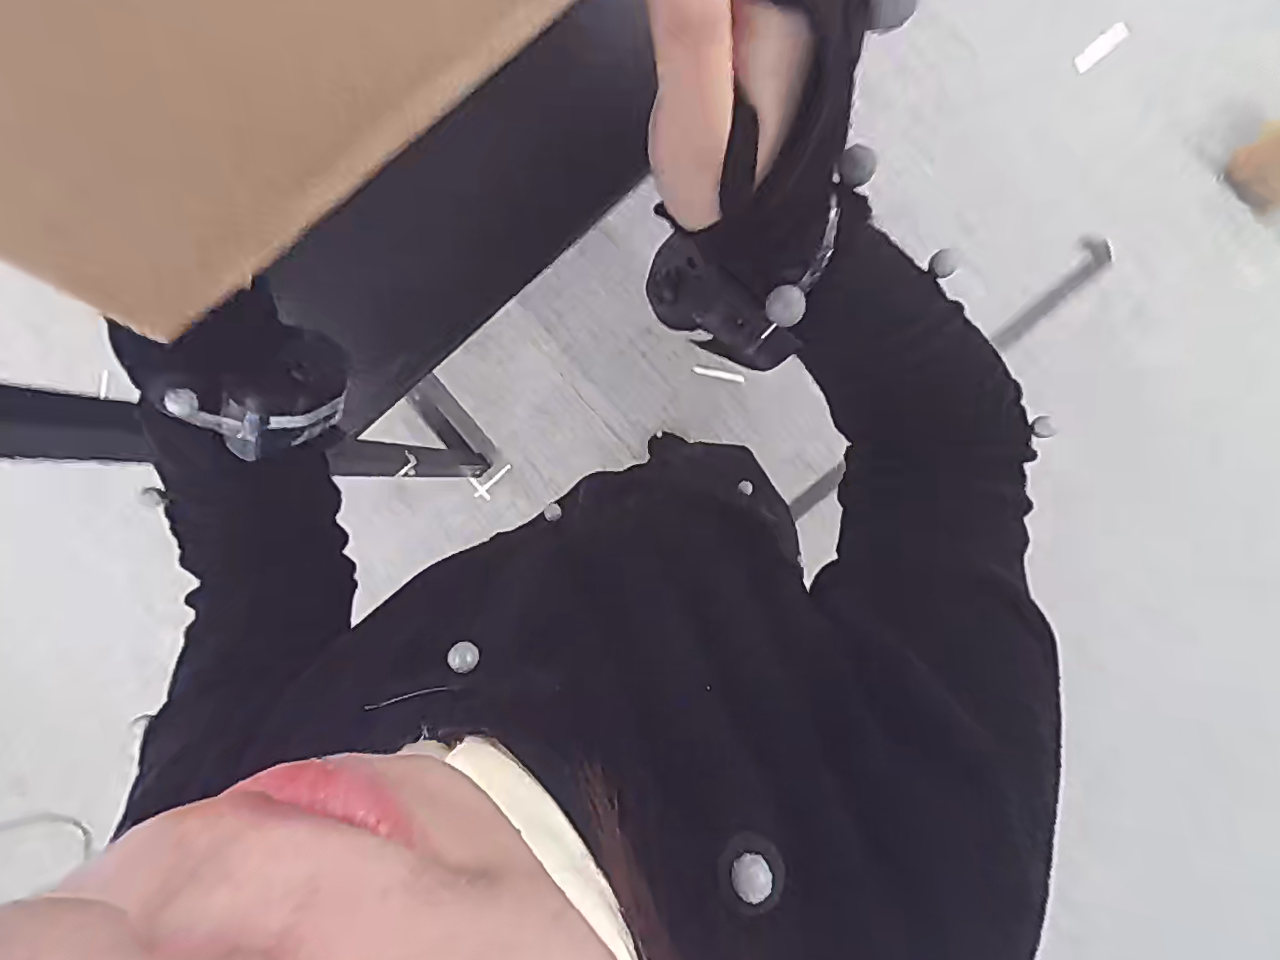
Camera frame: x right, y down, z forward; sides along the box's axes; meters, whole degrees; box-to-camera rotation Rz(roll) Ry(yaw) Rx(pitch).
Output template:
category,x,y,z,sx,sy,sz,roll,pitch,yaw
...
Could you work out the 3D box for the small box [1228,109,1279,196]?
category,x,y,z,sx,sy,sz,roll,pitch,yaw
small box,1.554,-0.793,1.246,0.168,0.176,0.179,-41,88,4
